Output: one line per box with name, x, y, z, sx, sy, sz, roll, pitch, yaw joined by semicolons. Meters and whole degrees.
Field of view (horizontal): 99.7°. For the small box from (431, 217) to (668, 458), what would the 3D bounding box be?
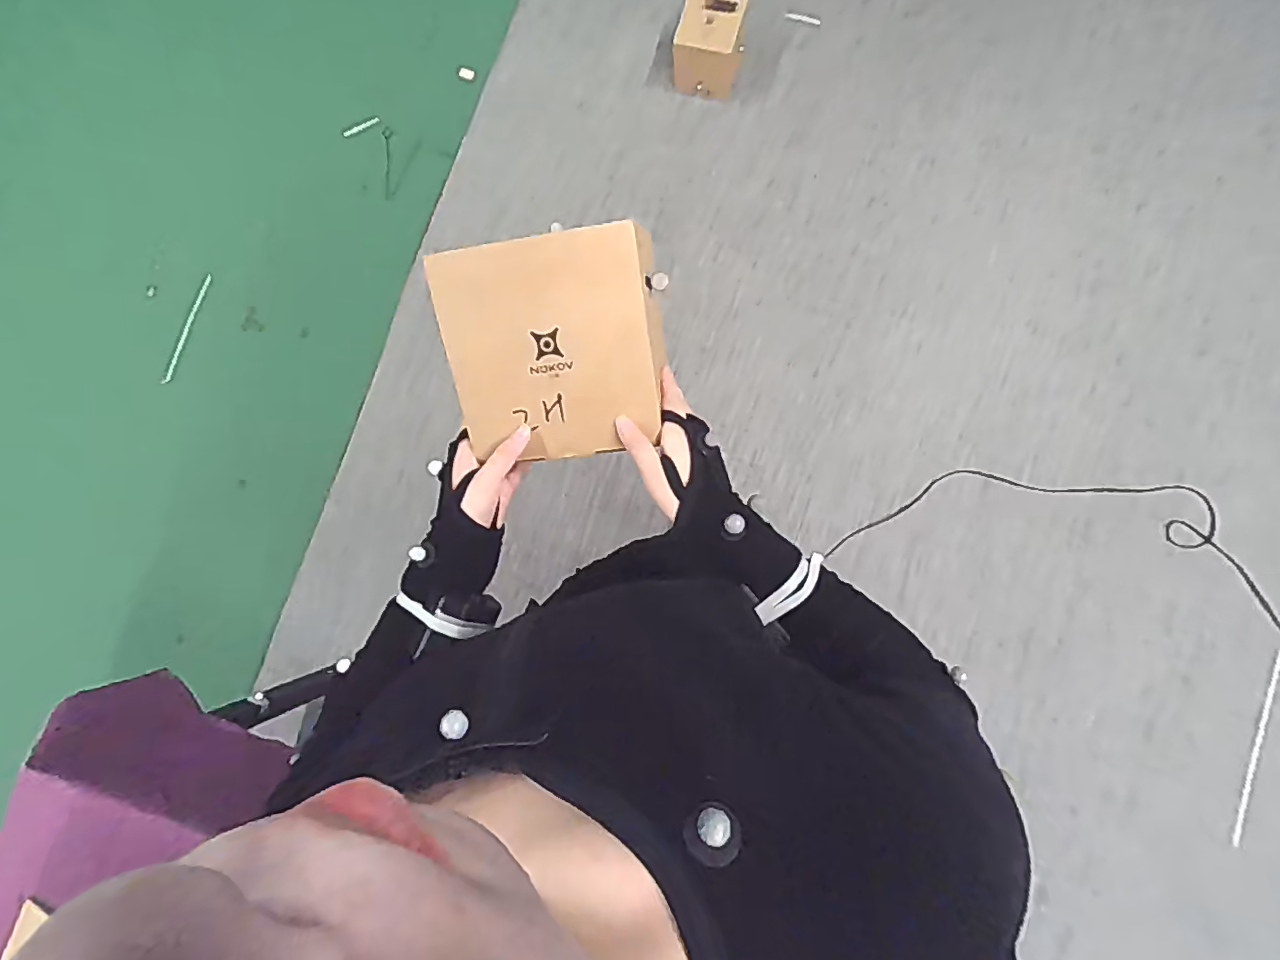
small box;-0.066;-0.135;0.512;0.168;0.176;0.179;-5;111;8
